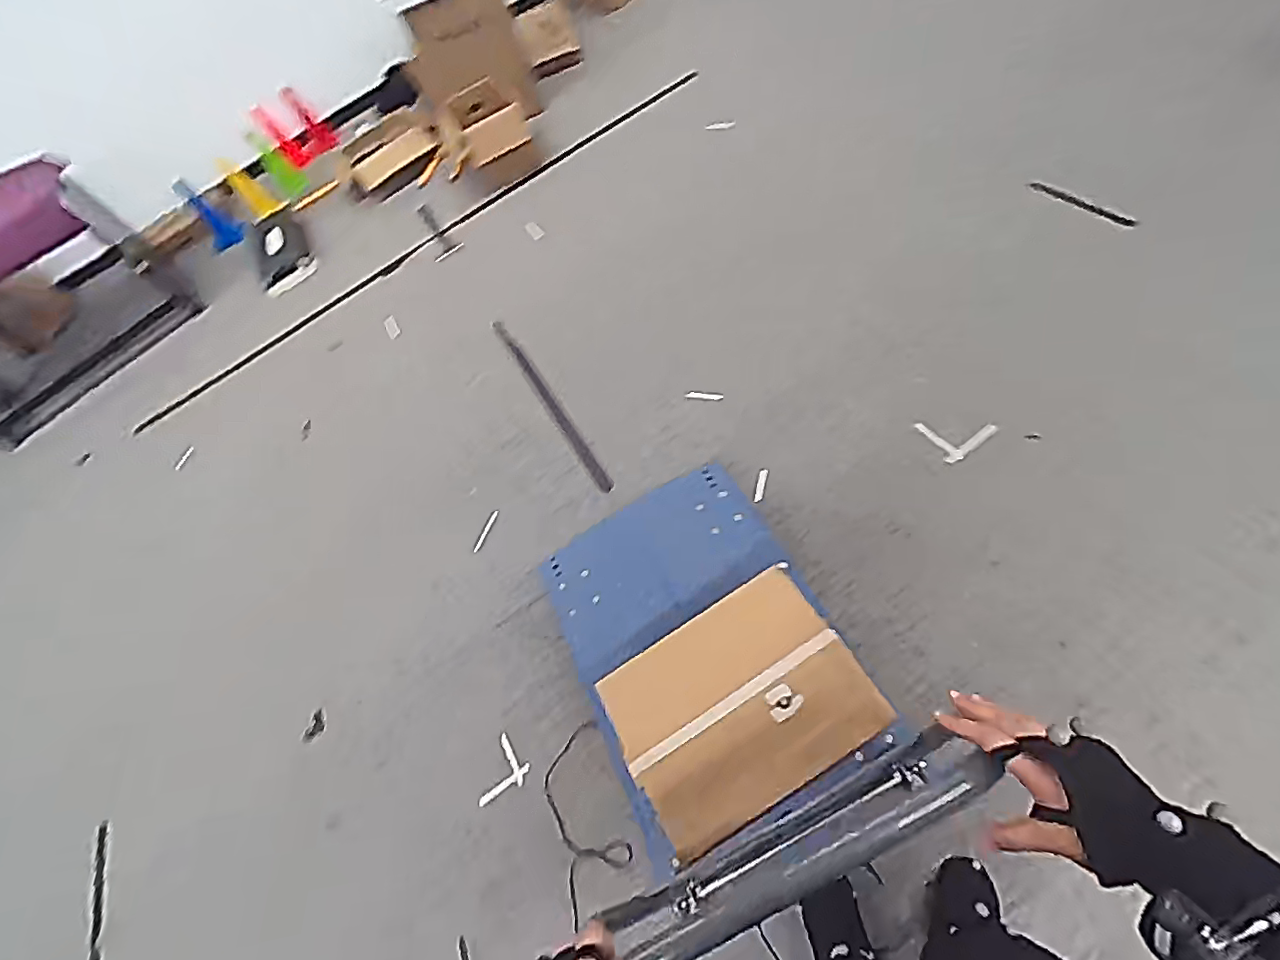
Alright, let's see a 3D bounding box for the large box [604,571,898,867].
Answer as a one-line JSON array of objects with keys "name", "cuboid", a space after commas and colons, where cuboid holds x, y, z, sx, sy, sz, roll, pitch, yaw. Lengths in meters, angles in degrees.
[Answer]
[{"name": "large box", "cuboid": [0.205, 0.453, 1.035, 0.408, 0.320, 0.320, -32, 58, -4]}]
